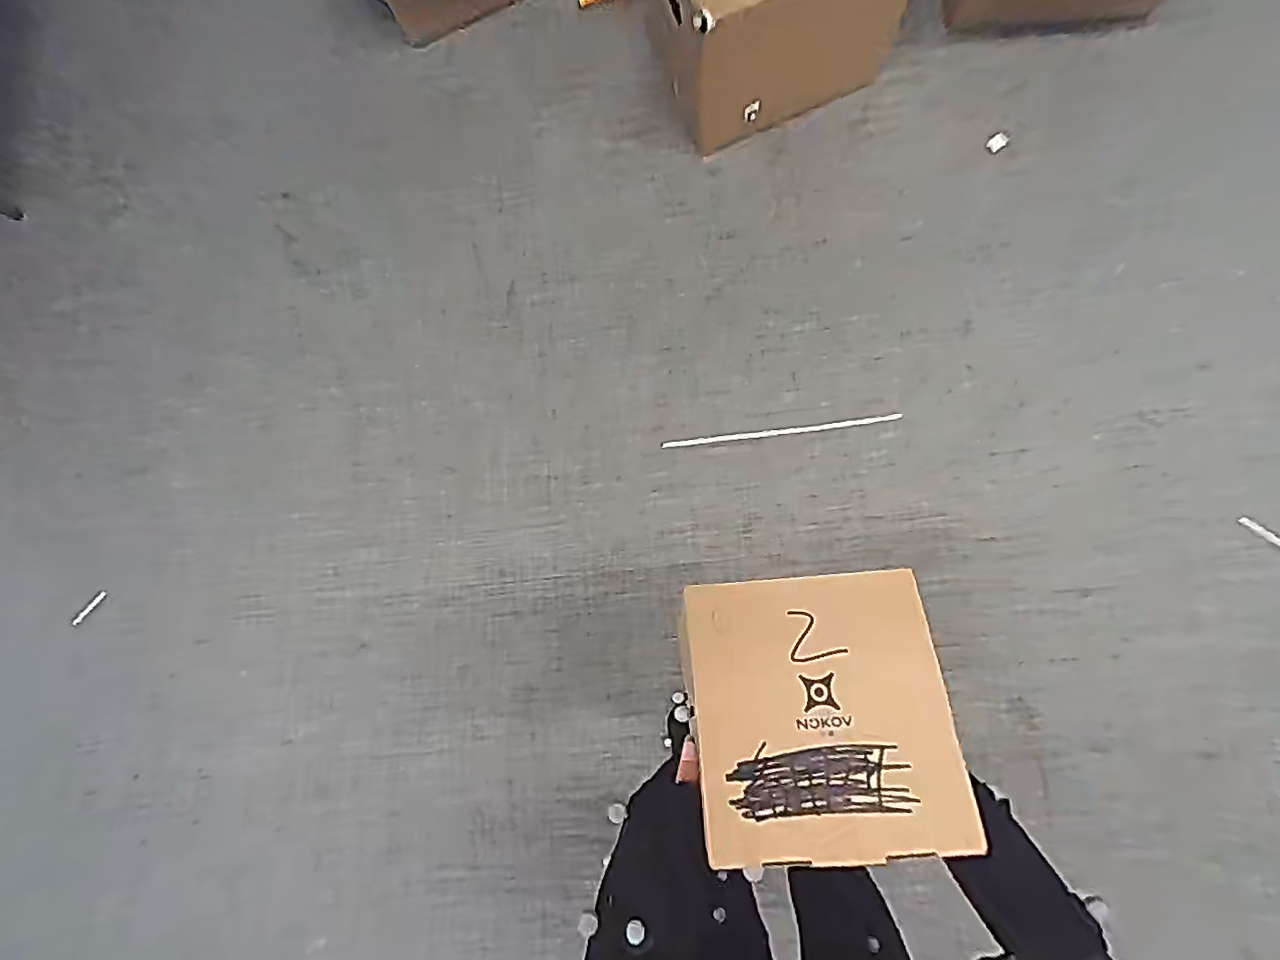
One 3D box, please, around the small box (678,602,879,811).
[{"bbox_3d":[0.130,0.245,0.588,0.168,0.176,0.179,-7,65,2],"label":"small box"}]
